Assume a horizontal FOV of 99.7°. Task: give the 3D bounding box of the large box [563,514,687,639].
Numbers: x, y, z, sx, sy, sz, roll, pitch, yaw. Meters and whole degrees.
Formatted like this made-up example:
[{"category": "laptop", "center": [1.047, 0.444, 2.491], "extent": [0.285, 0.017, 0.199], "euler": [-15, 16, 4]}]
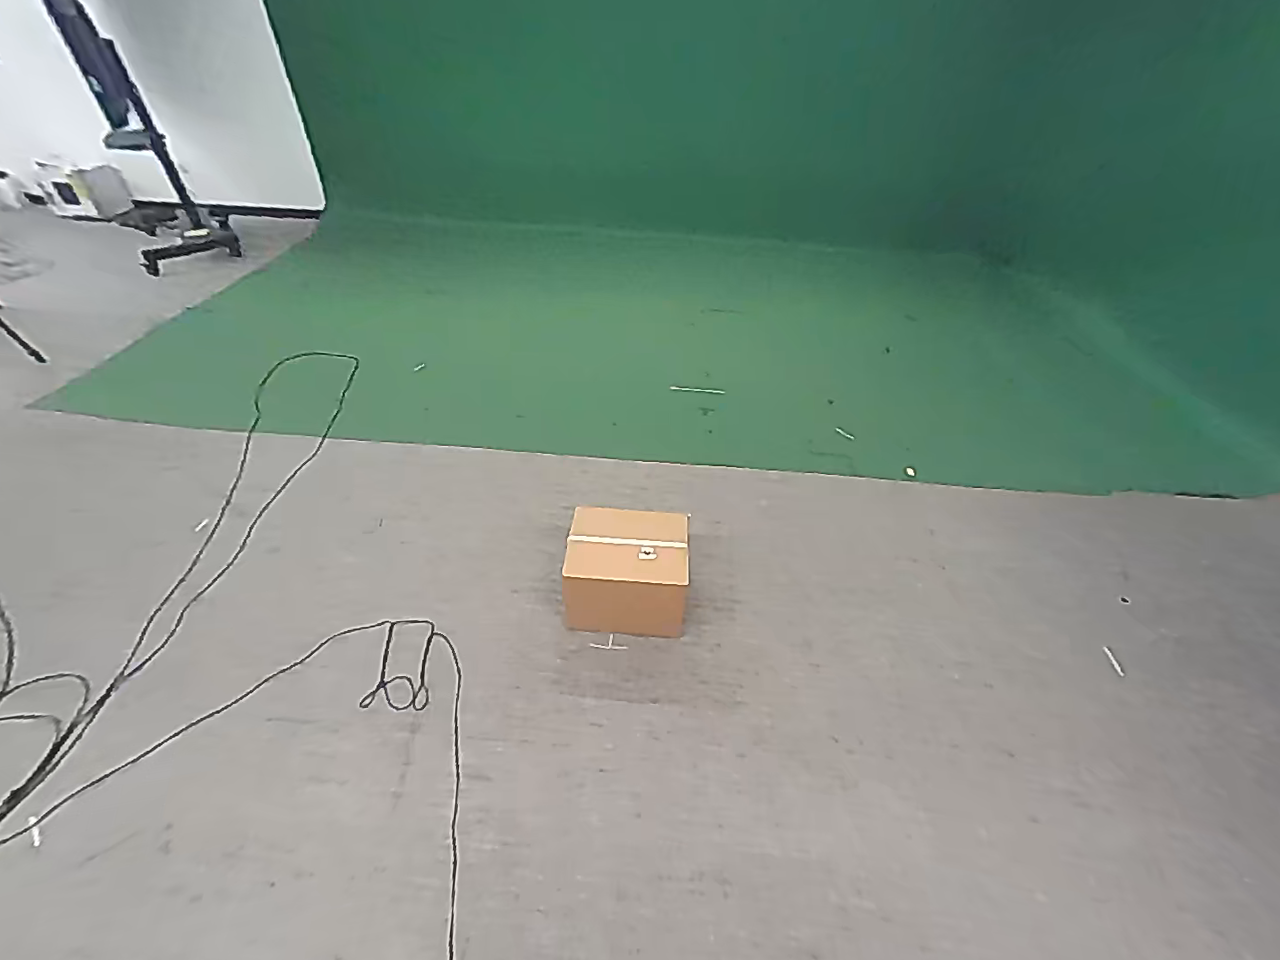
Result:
[{"category": "large box", "center": [-0.051, 0.343, 1.918], "extent": [0.408, 0.320, 0.320], "euler": [4, 42, 0]}]
